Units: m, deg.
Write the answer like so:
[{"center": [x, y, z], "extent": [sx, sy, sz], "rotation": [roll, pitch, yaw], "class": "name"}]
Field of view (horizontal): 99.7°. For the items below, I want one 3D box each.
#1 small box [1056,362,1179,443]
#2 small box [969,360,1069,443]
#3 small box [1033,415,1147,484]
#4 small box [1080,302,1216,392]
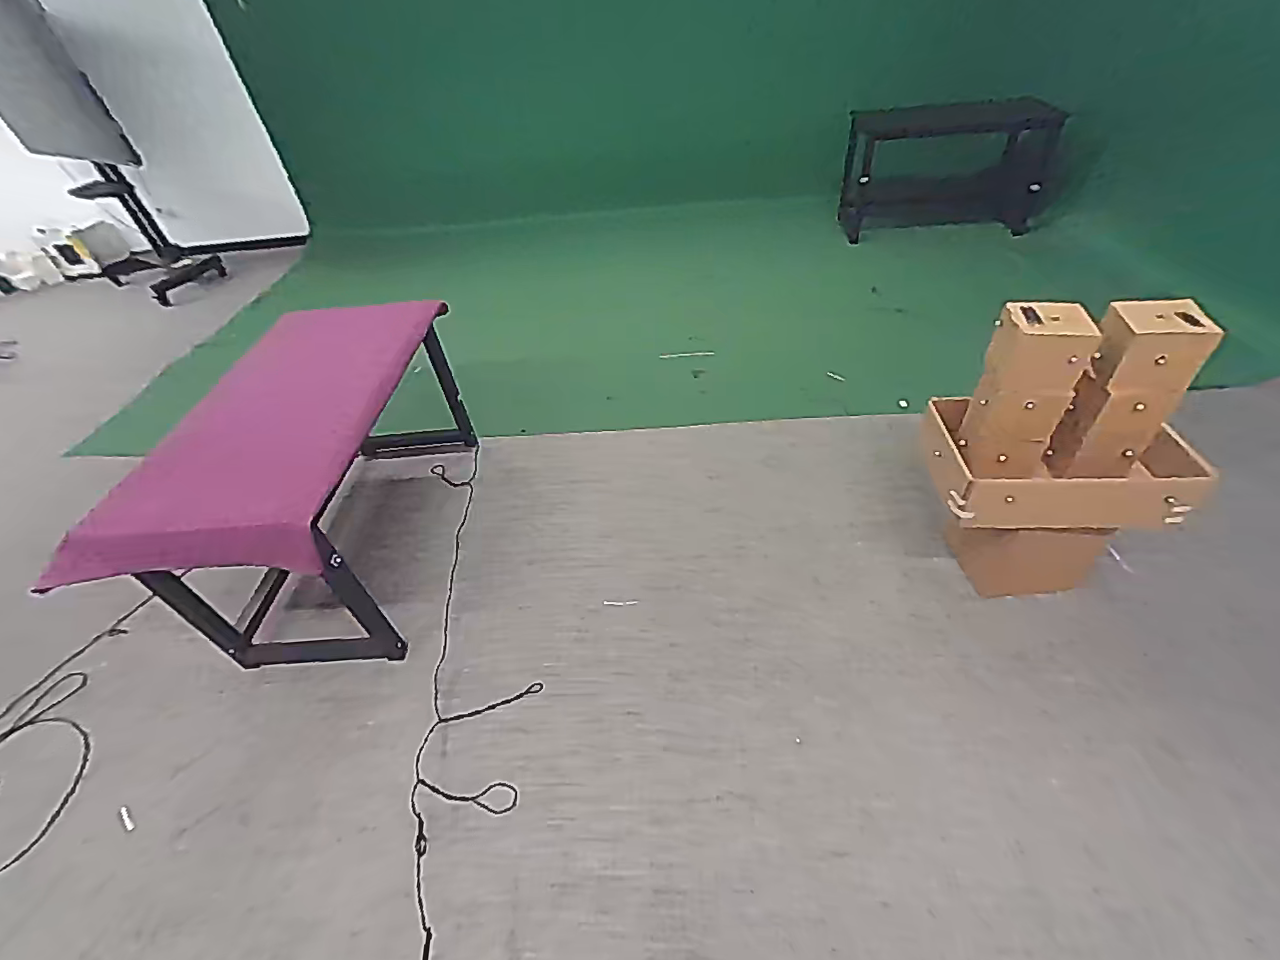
[{"center": [1.307, -0.218, 1.502], "extent": [0.179, 0.176, 0.168], "rotation": [-3, 44, 7], "class": "small box"}, {"center": [1.061, -0.223, 1.535], "extent": [0.179, 0.176, 0.168], "rotation": [7, 45, 13], "class": "small box"}, {"center": [1.328, -0.101, 1.611], "extent": [0.179, 0.176, 0.168], "rotation": [-2, 43, 7], "class": "small box"}, {"center": [1.293, -0.340, 1.393], "extent": [0.179, 0.176, 0.168], "rotation": [3, 44, 14], "class": "small box"}]
